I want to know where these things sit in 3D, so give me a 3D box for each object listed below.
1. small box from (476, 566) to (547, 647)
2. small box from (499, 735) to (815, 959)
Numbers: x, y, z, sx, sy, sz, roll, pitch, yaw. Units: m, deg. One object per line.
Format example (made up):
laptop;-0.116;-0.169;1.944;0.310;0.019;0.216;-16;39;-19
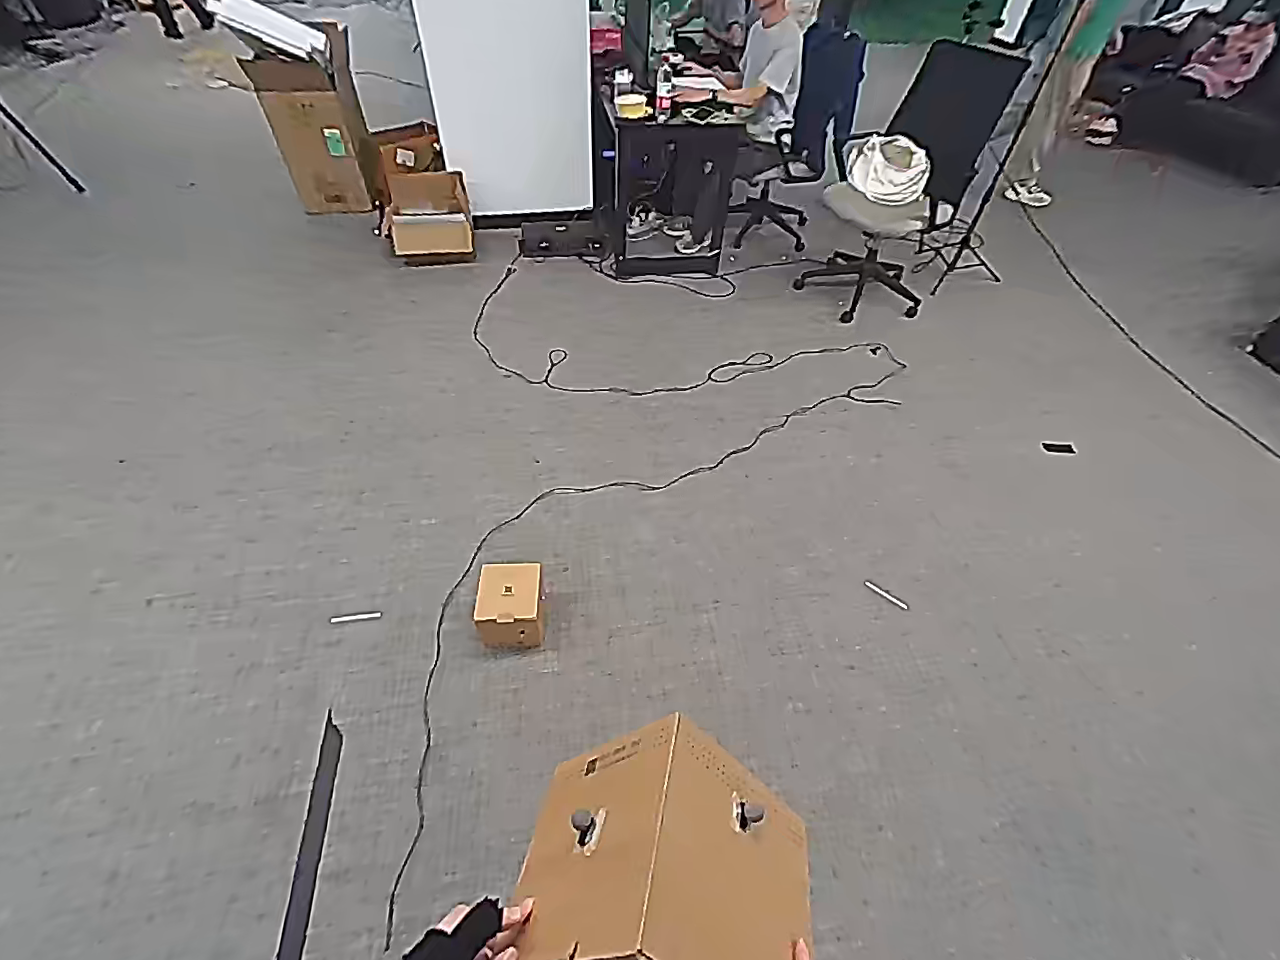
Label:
small box;-0.355;0.364;1.534;0.168;0.176;0.179;0;48;-4
small box;0.023;0.336;0.442;0.179;0.168;0.176;45;31;-14
